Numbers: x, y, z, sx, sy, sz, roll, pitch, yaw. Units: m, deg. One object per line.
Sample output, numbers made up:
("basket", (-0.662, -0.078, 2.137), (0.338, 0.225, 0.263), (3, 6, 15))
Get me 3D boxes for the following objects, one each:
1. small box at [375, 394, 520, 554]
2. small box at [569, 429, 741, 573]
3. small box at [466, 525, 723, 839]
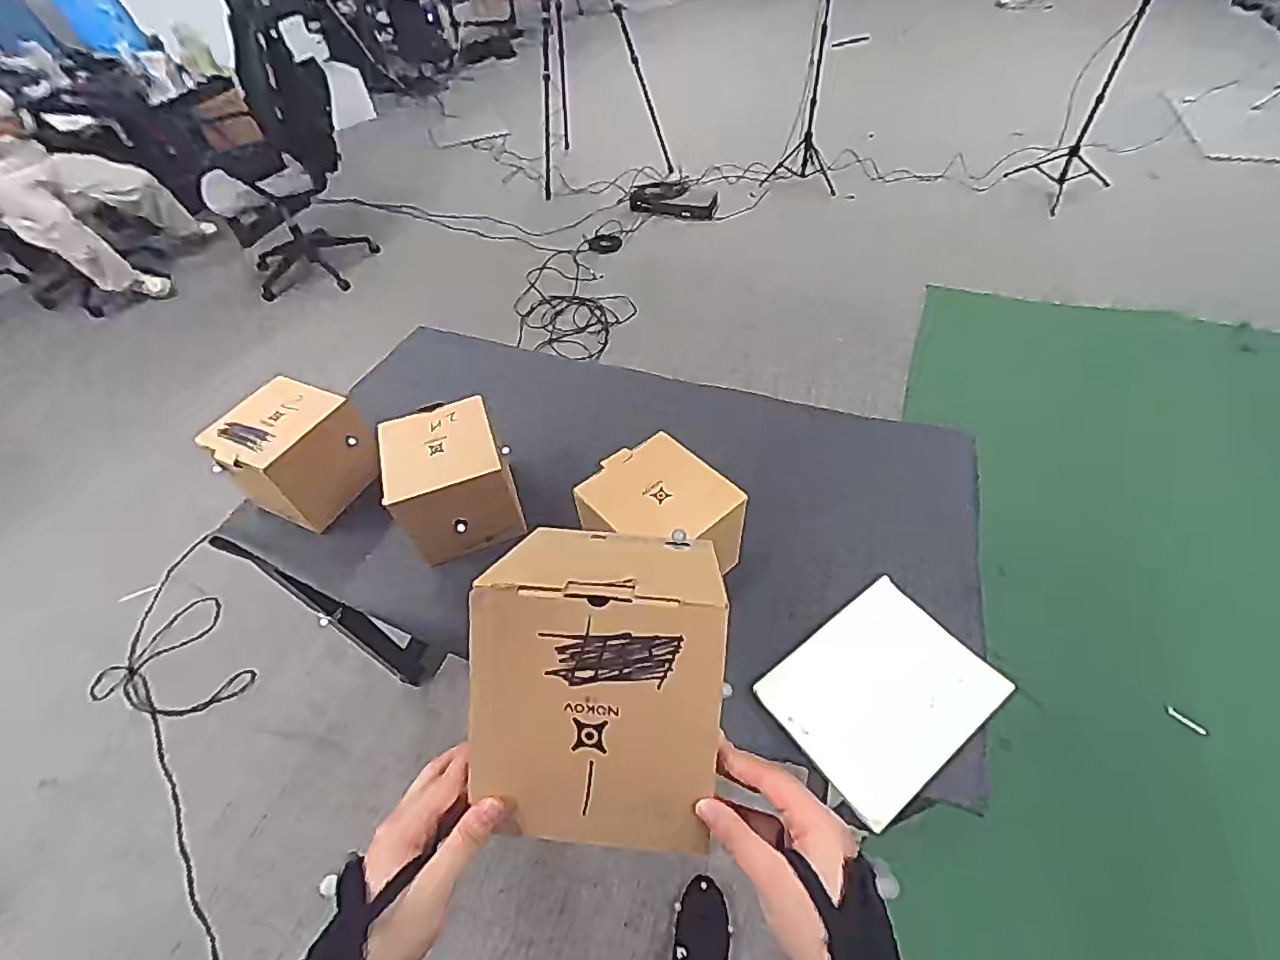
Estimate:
("small box", (-0.302, -0.002, 0.867), (0.168, 0.176, 0.179), (-18, 51, -10))
("small box", (0.025, 0.066, 0.781), (0.168, 0.176, 0.179), (-35, 55, -22))
("small box", (-0.028, 0.139, 0.433), (0.168, 0.179, 0.176), (3, 9, 4))
